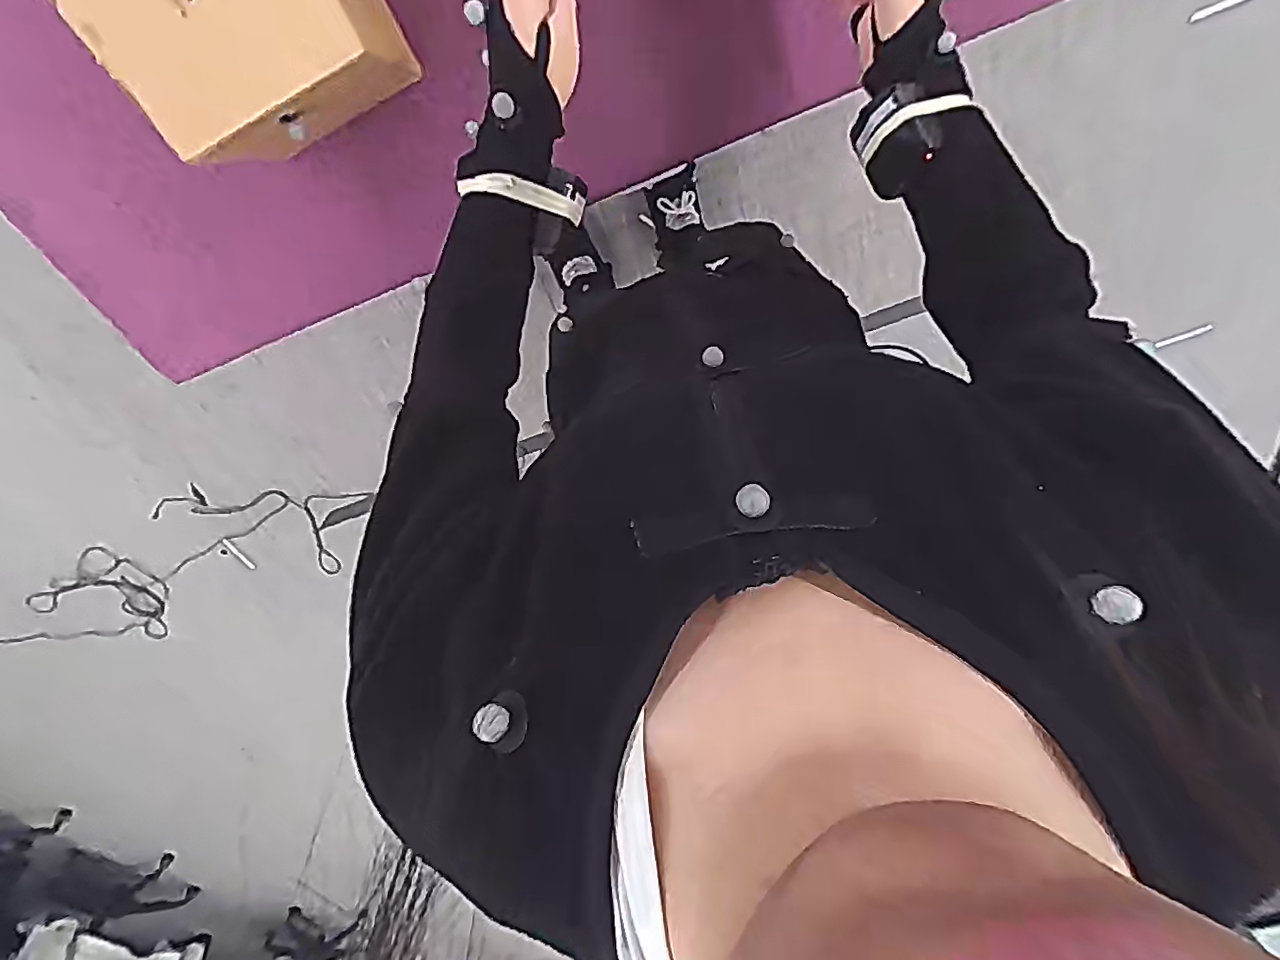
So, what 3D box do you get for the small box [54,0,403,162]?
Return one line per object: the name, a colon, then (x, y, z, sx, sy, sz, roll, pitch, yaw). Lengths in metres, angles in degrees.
small box: (-0.319, -0.386, 0.436, 0.179, 0.176, 0.168, -23, 122, 10)
